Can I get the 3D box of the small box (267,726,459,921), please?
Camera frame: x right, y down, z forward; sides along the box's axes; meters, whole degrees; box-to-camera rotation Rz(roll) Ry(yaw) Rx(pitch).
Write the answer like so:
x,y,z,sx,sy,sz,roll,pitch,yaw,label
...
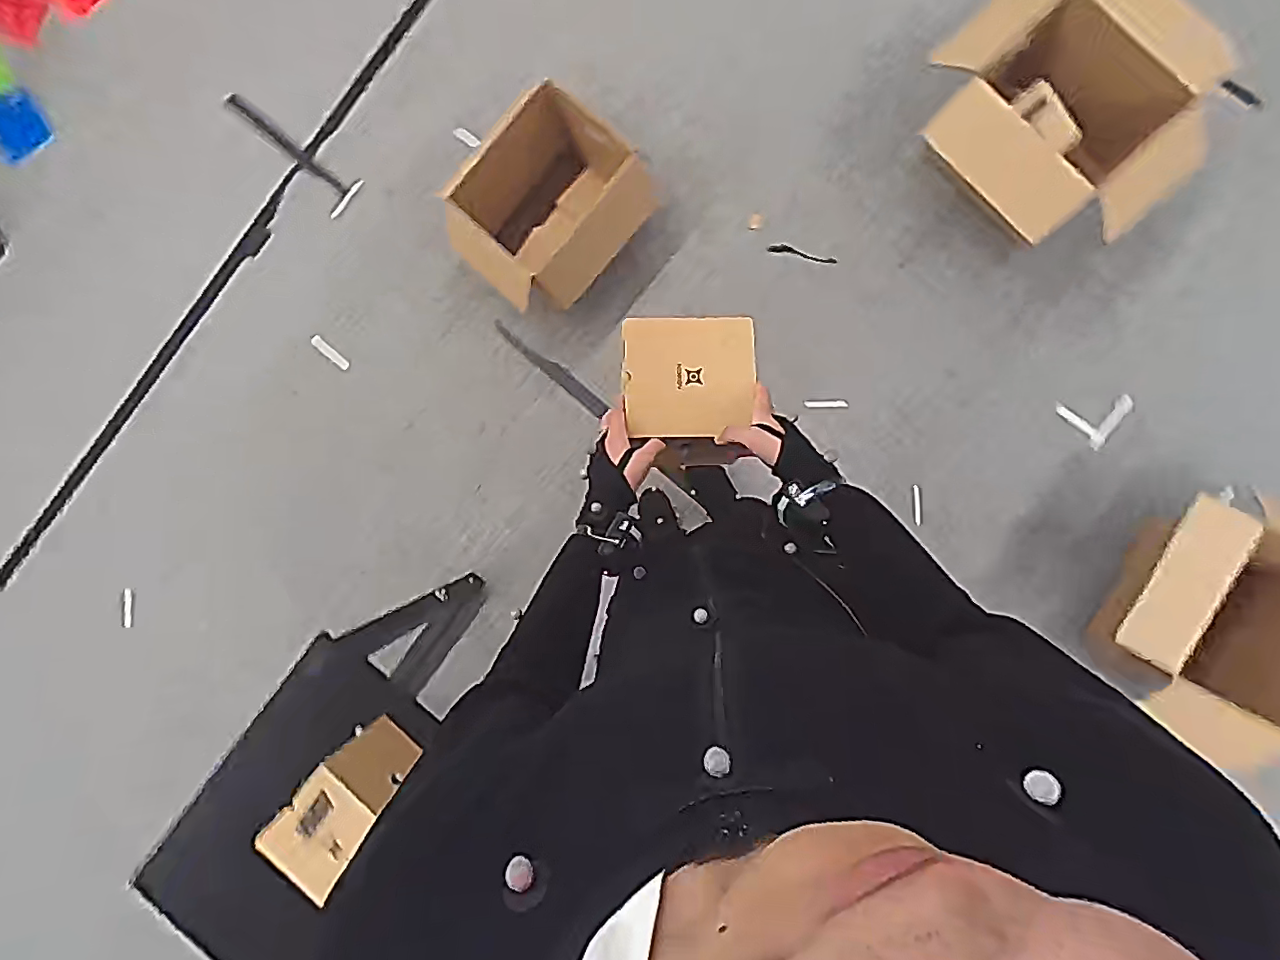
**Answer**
x,y,z,sx,sy,sz,roll,pitch,yaw,label
-0.431,0.531,0.871,0.179,0.176,0.168,40,94,2,small box
